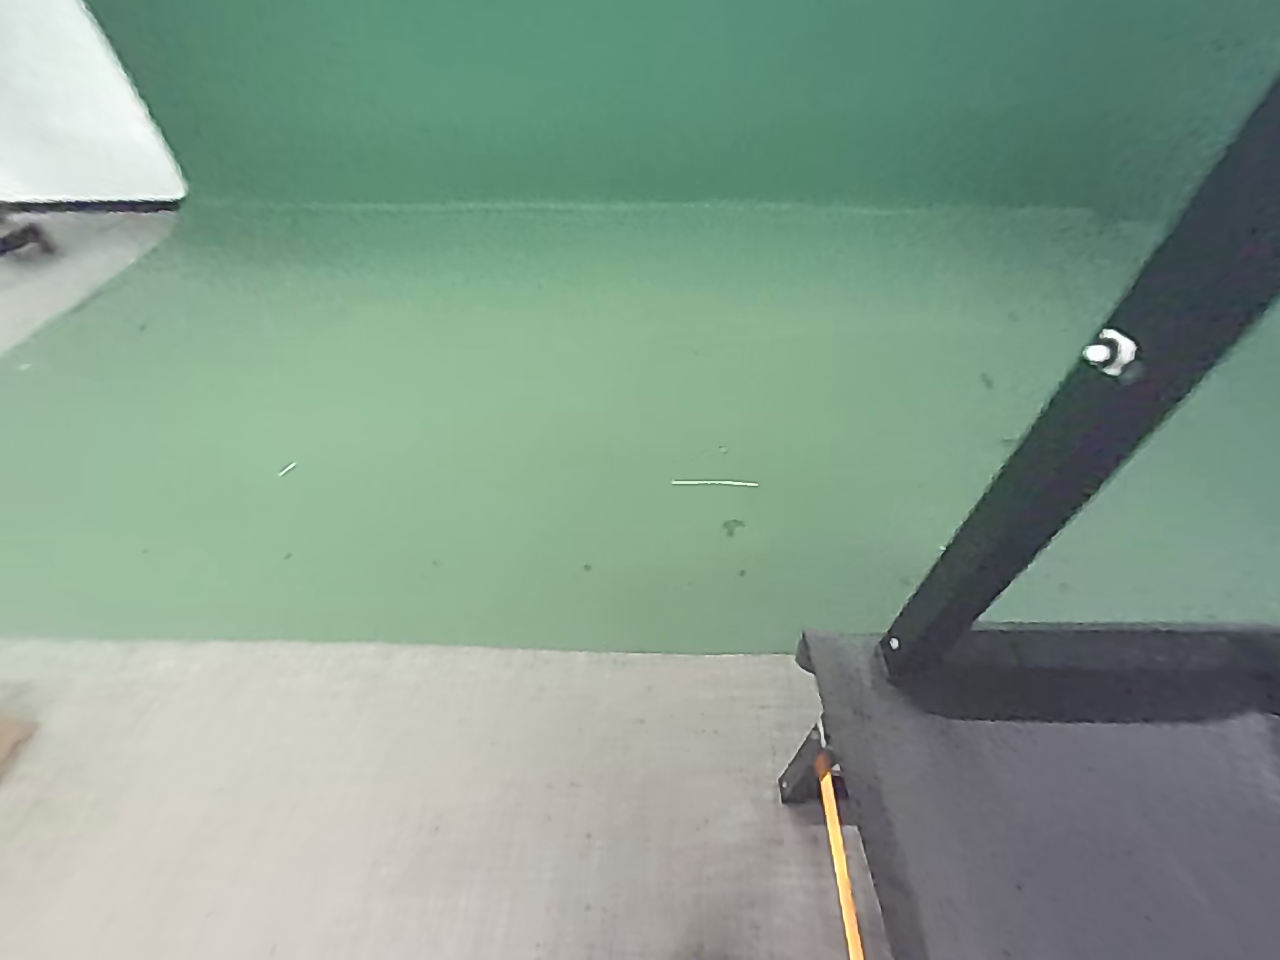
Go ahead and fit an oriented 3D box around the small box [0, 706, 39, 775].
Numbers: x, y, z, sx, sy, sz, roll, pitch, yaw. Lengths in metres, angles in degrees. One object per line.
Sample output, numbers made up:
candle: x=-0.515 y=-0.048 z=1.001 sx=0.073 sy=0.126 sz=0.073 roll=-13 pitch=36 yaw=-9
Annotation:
small box: x=-1.675 y=0.649 z=1.328 sx=0.179 sy=0.176 sz=0.168 roll=0 pitch=47 yaw=1
